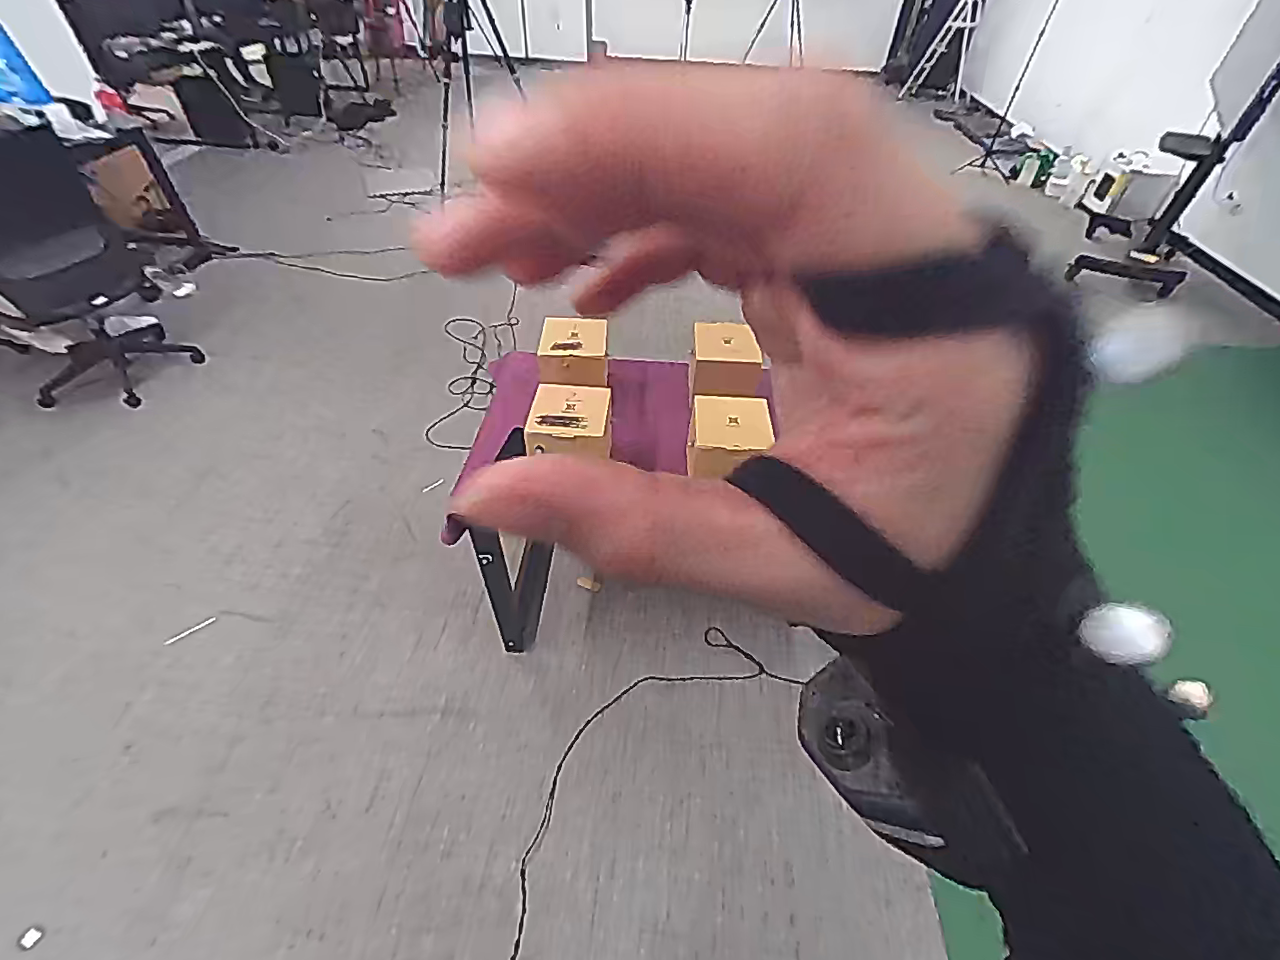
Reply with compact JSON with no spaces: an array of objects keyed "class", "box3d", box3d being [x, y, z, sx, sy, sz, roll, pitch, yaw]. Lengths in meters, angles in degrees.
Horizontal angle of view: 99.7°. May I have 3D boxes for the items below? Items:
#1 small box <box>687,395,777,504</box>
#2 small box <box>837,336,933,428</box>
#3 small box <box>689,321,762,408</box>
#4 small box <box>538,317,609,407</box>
[{"class":"small box","box3d":[0.197,-0.069,1.216,0.168,0.176,0.179,3,46,-1]},{"class":"small box","box3d":[0.628,-0.250,1.412,0.168,0.176,0.179,6,46,3]},{"class":"small box","box3d":[0.220,-0.298,1.435,0.168,0.176,0.179,3,47,1]},{"class":"small box","box3d":[-0.168,-0.308,1.420,0.168,0.176,0.179,2,46,-2]}]
